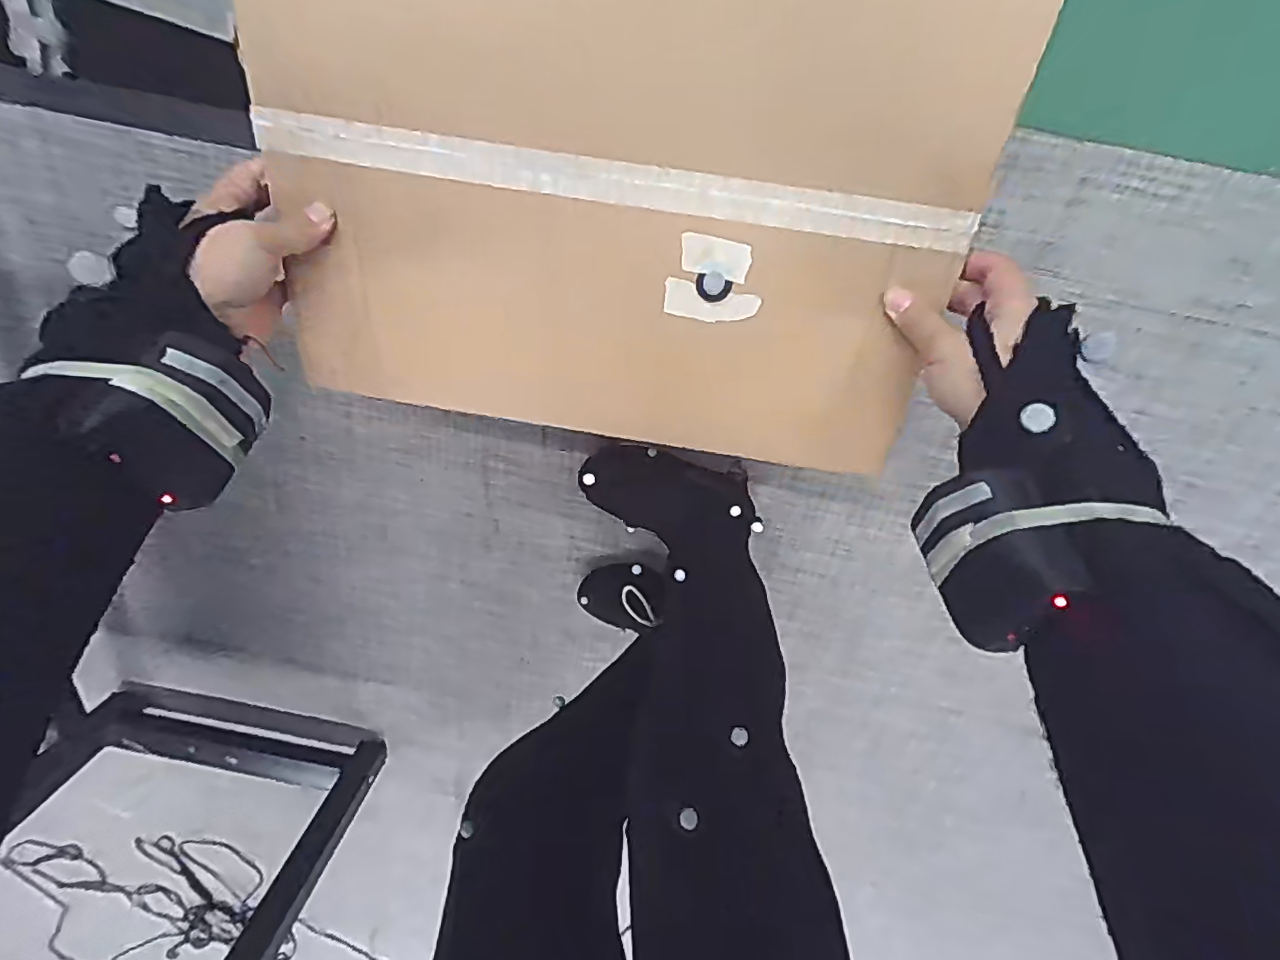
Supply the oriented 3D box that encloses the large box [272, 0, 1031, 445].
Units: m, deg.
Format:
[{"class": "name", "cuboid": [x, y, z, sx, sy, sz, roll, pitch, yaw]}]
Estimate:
[{"class": "large box", "cuboid": [-0.001, -0.250, 0.450, 0.408, 0.320, 0.320, 8, 119, 1]}]
